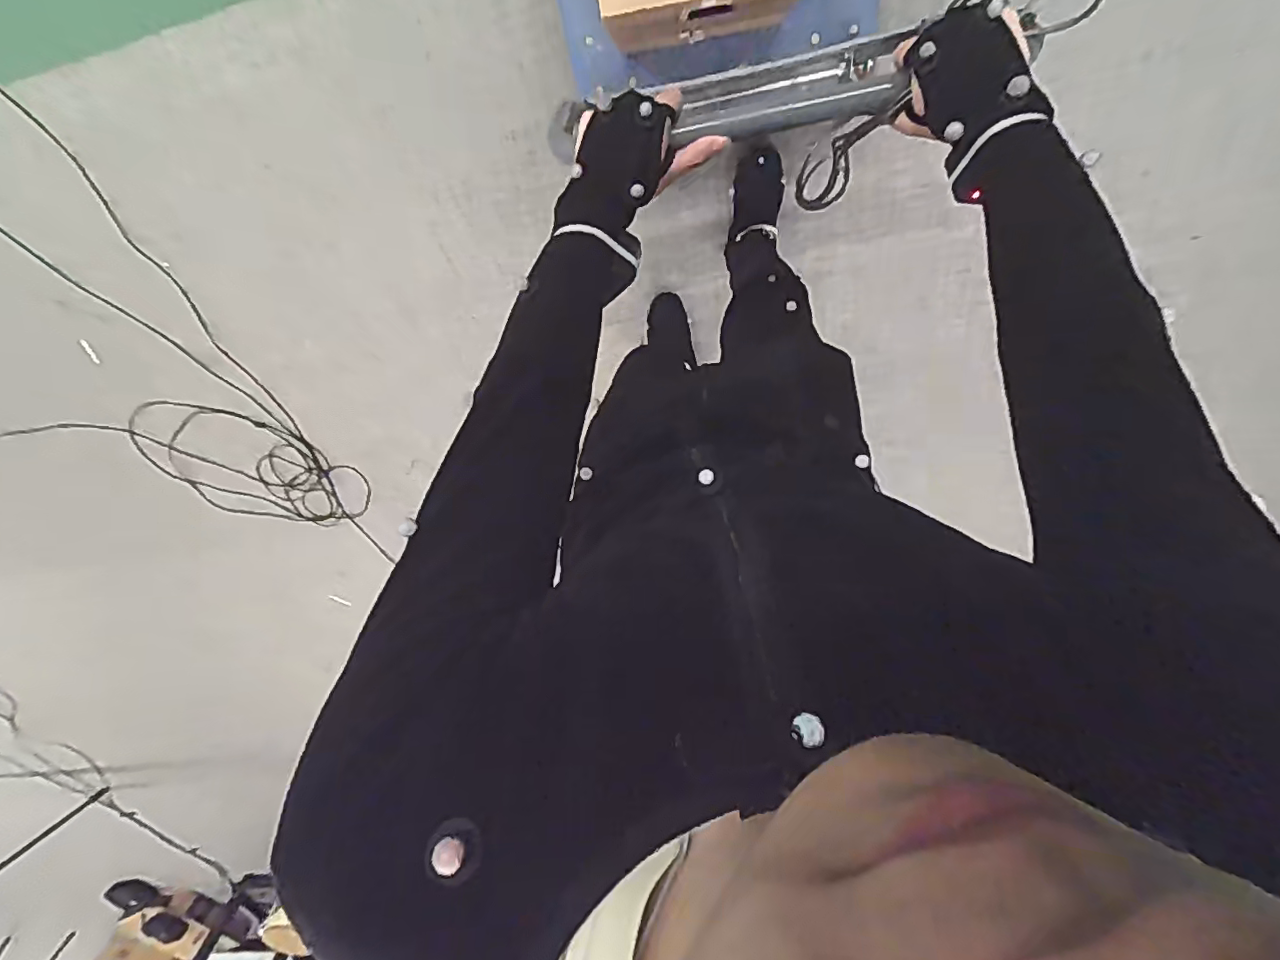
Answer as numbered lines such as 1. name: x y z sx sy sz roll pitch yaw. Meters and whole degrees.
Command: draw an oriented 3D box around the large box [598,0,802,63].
1. large box: 0.081 -0.925 0.813 0.320 0.320 0.408 -5 119 7
